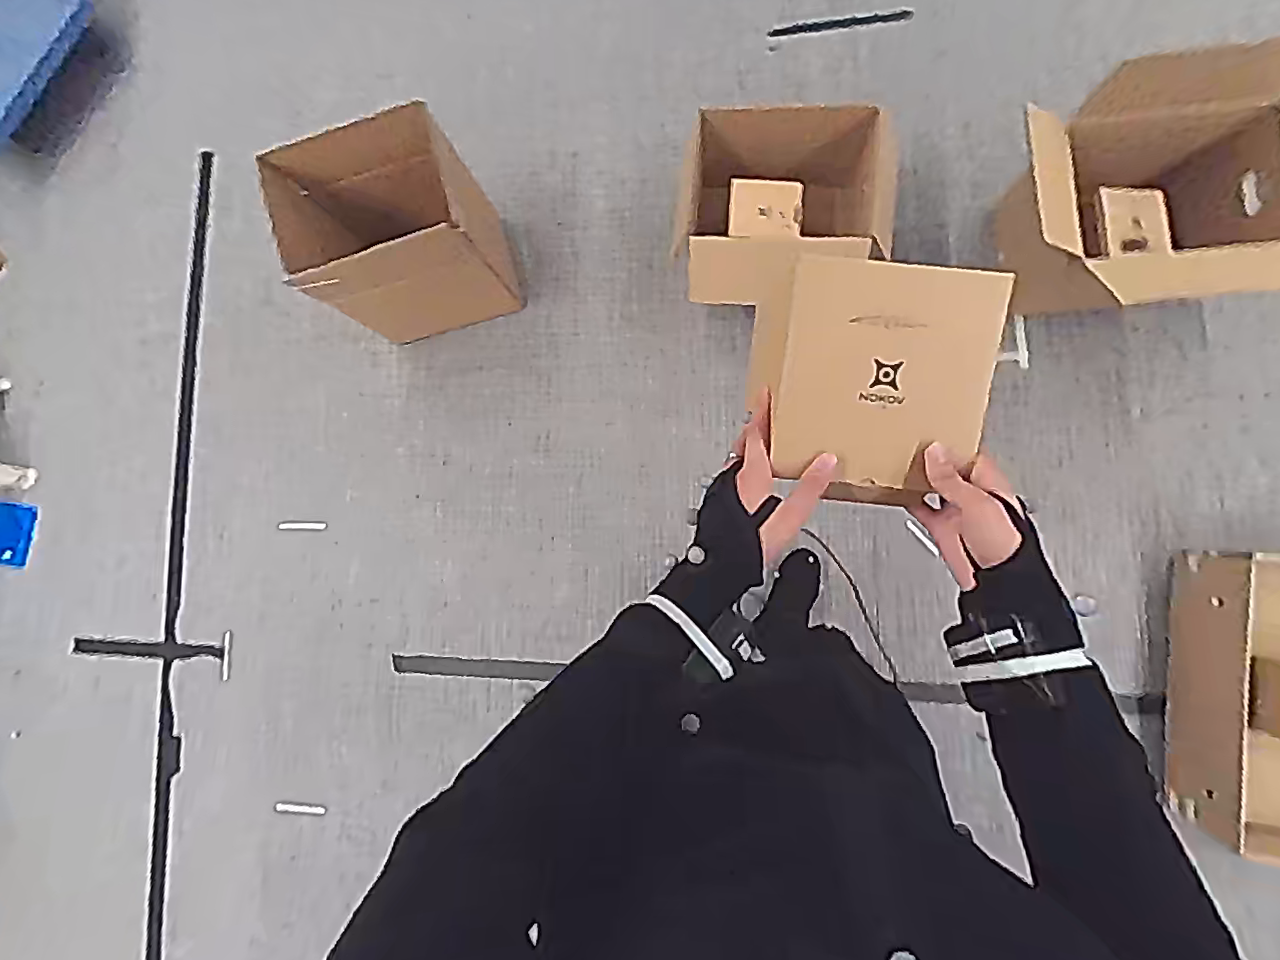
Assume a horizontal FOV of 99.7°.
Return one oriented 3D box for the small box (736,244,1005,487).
[{"bbox_3d":[0.187,-0.100,0.498,0.168,0.176,0.179,5,100,0],"label":"small box"}]
